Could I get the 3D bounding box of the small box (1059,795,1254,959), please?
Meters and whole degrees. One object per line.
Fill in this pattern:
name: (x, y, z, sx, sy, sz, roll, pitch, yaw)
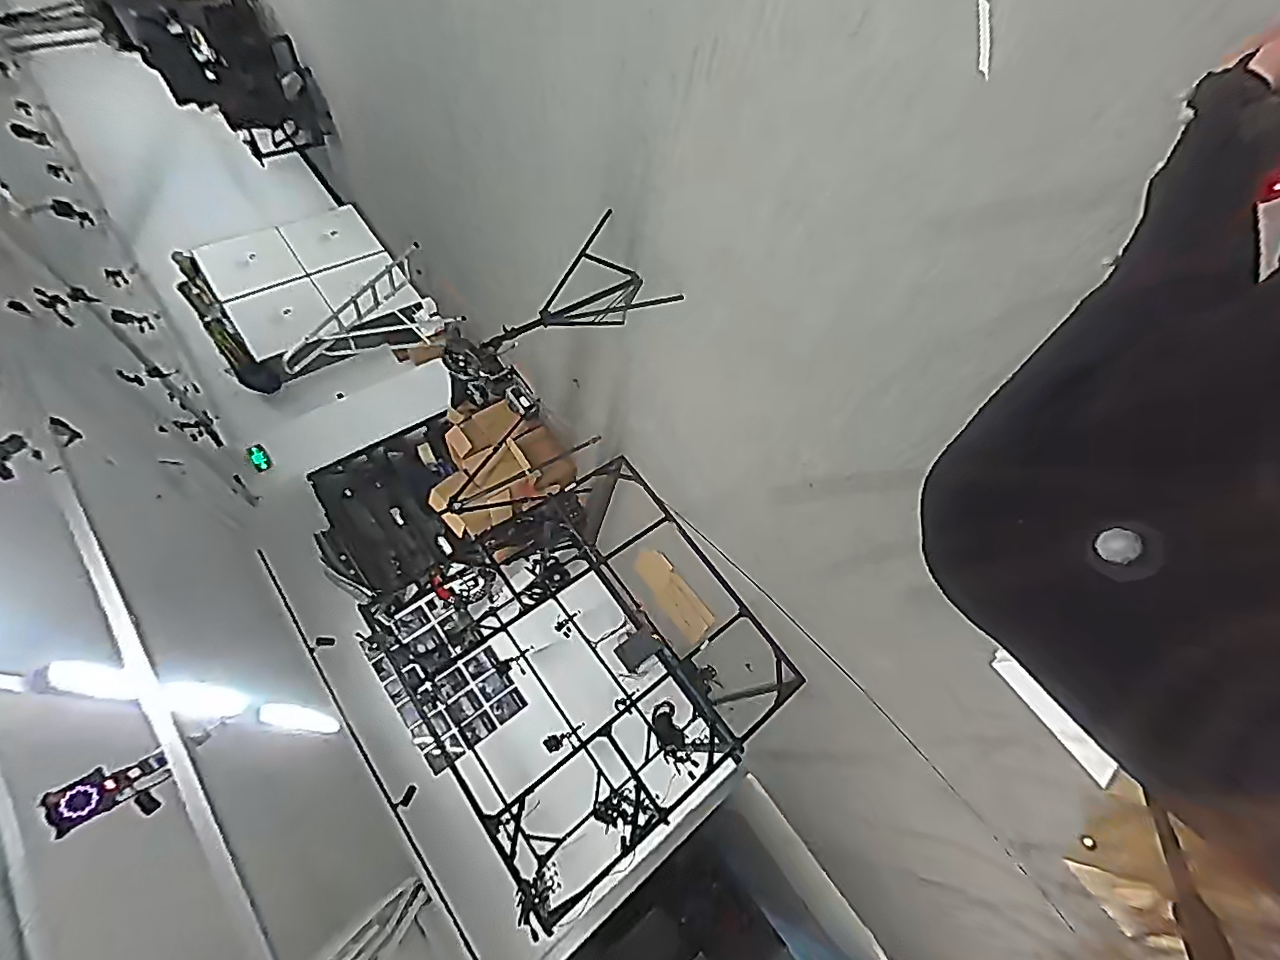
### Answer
small box: (0.945, 0.717, 0.996, 0.168, 0.176, 0.179, 52, 156, 11)
